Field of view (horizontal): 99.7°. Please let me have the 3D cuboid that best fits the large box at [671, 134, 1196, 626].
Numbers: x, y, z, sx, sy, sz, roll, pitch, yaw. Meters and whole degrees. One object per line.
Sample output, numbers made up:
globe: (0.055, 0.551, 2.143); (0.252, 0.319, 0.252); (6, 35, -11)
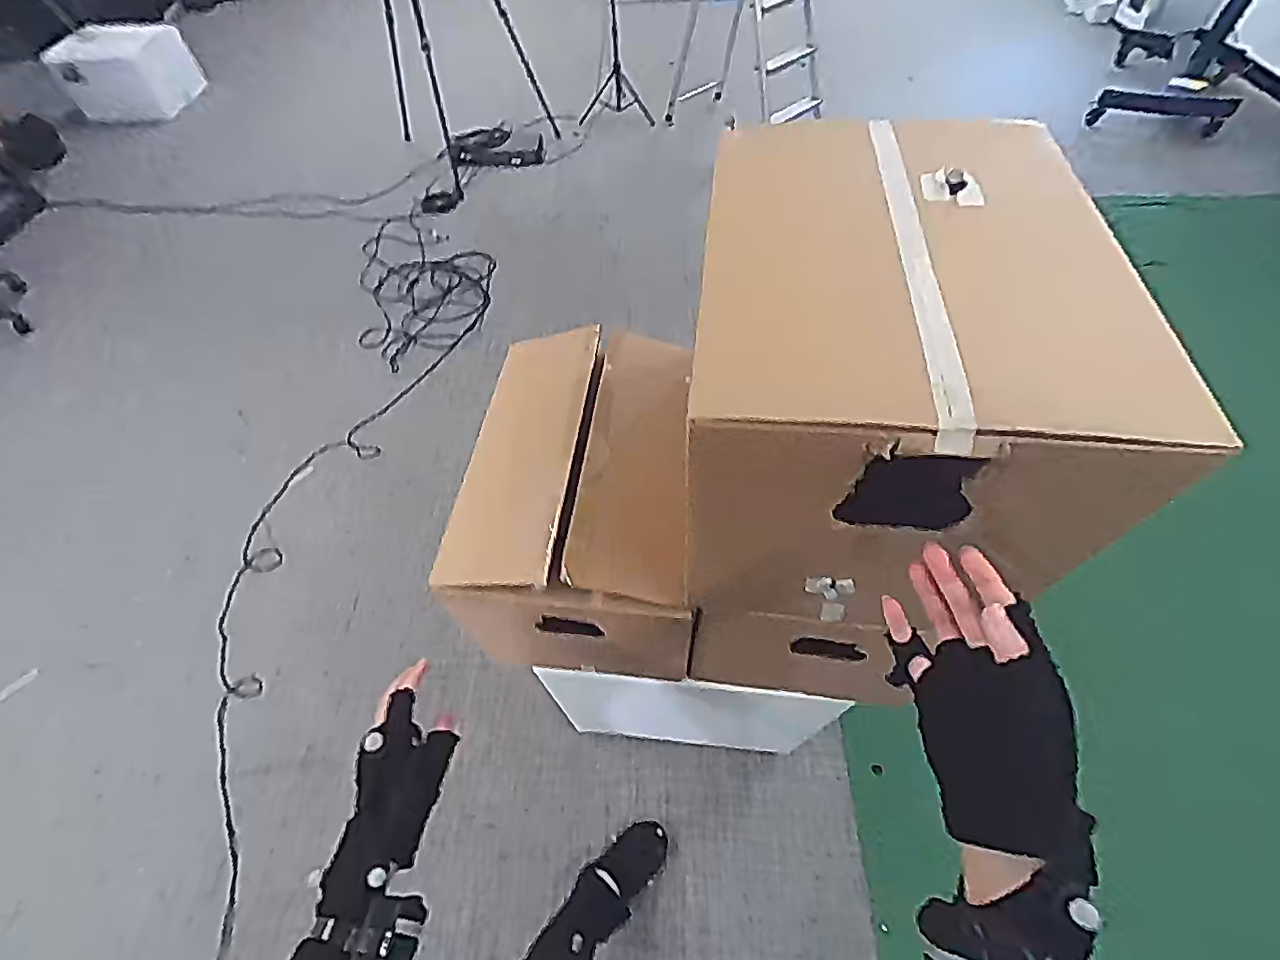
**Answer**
large box: (0.206, -0.100, 0.562); (0.320, 0.320, 0.408); (4, 54, 7)
